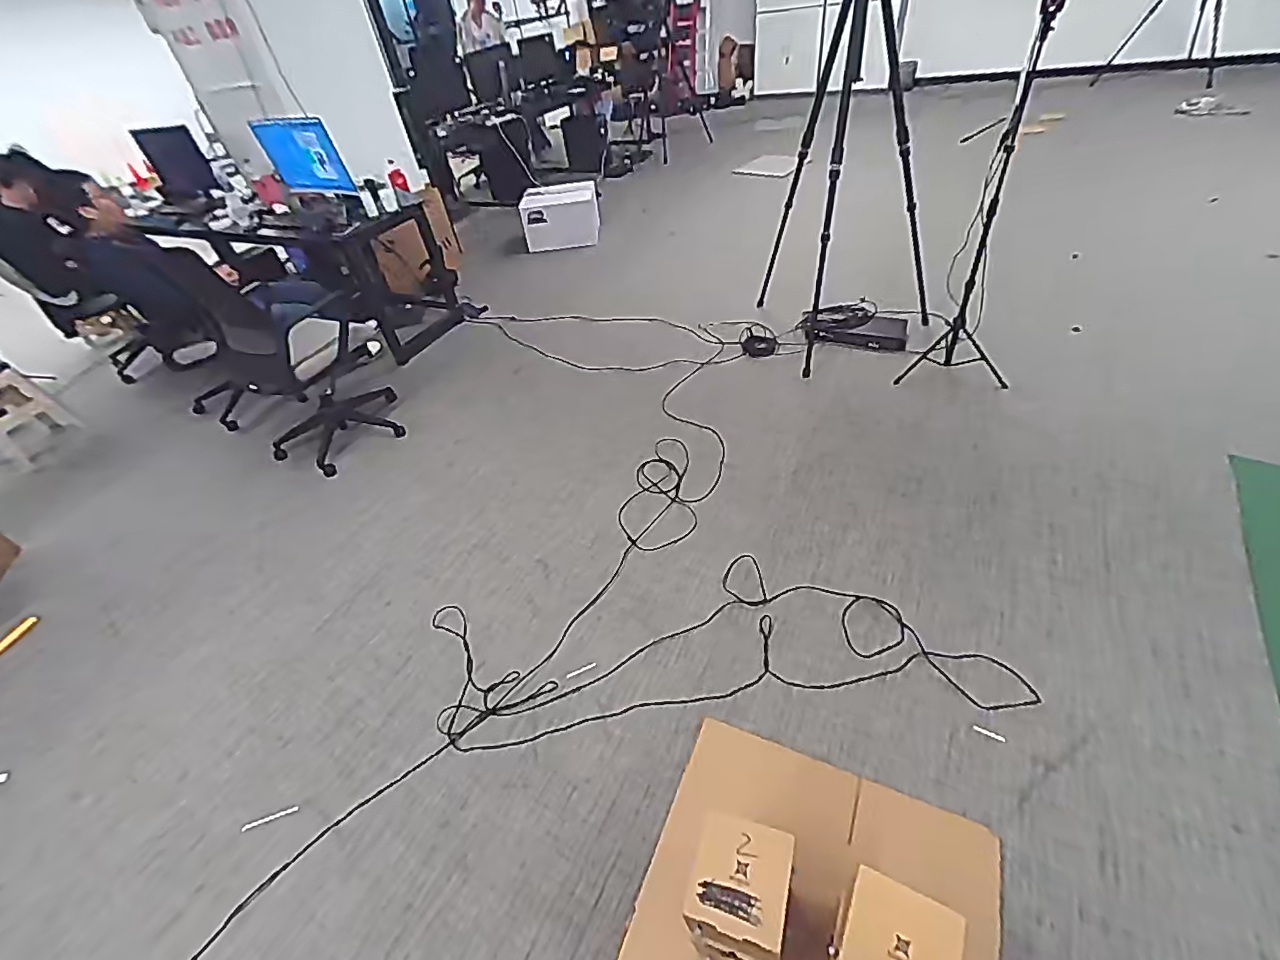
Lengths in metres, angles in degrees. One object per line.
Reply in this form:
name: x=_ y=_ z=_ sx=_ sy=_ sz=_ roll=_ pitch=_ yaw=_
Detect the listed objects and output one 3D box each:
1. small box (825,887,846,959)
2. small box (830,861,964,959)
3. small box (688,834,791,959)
small box: x=0.437 y=0.911 z=1.007 sx=0.168 sy=0.176 sz=0.179 roll=11 pitch=47 yaw=24
small box: x=0.419 y=0.789 z=0.902 sx=0.168 sy=0.176 sz=0.179 roll=15 pitch=49 yaw=26
small box: x=0.207 y=0.866 z=1.098 sx=0.168 sy=0.176 sz=0.179 roll=9 pitch=46 yaw=20
